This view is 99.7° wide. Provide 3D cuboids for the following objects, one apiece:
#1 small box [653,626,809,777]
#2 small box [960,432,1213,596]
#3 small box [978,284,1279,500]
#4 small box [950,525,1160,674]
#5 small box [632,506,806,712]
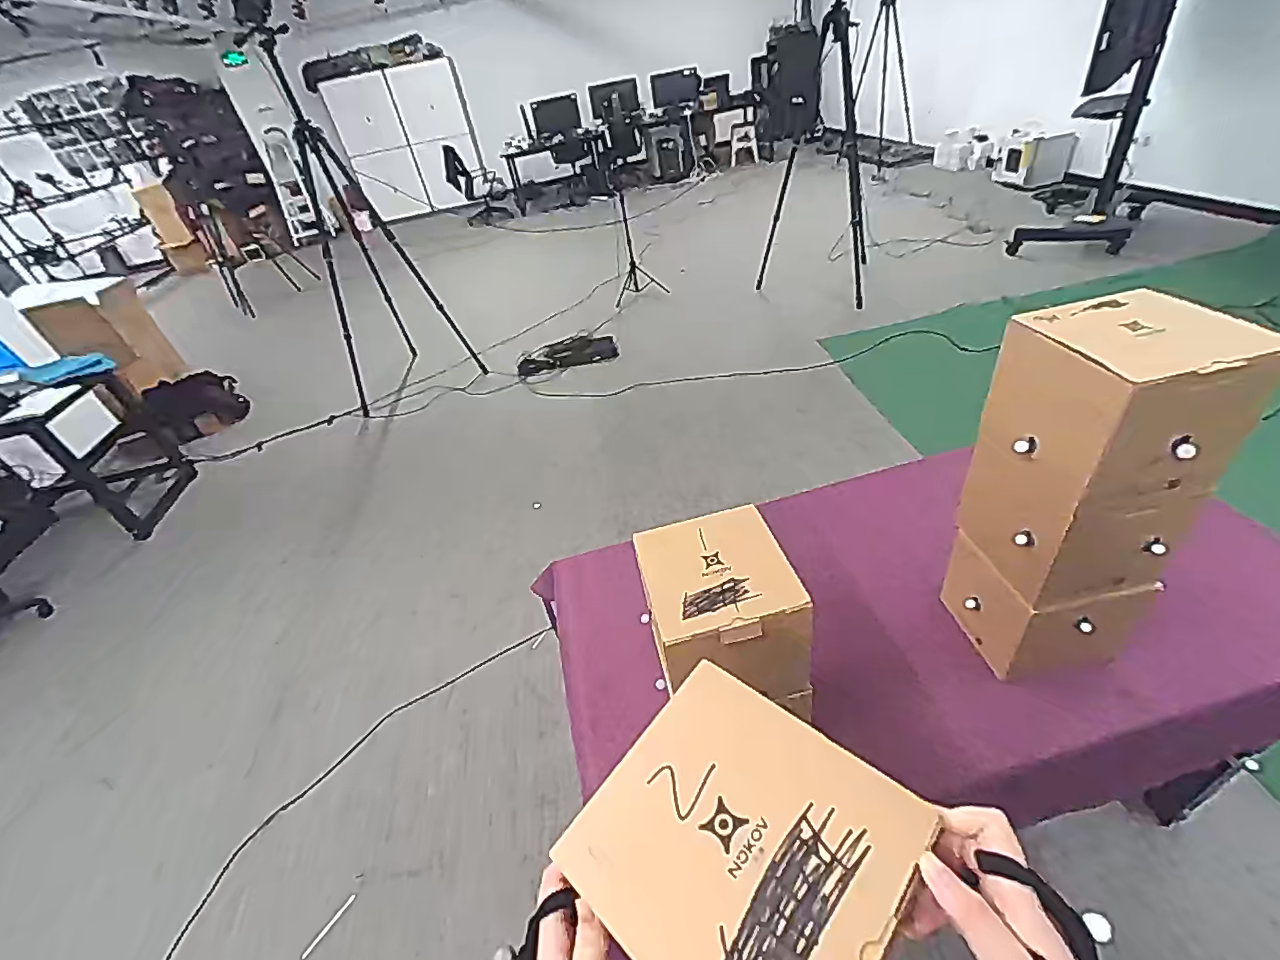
[{"bbox_3d":[0.130,0.295,0.777,0.179,0.176,0.168,-14,38,-2],"label":"small box"},{"bbox_3d":[0.557,0.032,0.708,0.168,0.176,0.179,-12,37,1],"label":"small box"},{"bbox_3d":[0.524,-0.094,0.608,0.168,0.176,0.179,-12,38,0],"label":"small box"},{"bbox_3d":[0.588,0.163,0.801,0.179,0.176,0.168,-12,38,1],"label":"small box"},{"bbox_3d":[0.098,0.166,0.680,0.168,0.176,0.179,-15,36,-3],"label":"small box"}]
